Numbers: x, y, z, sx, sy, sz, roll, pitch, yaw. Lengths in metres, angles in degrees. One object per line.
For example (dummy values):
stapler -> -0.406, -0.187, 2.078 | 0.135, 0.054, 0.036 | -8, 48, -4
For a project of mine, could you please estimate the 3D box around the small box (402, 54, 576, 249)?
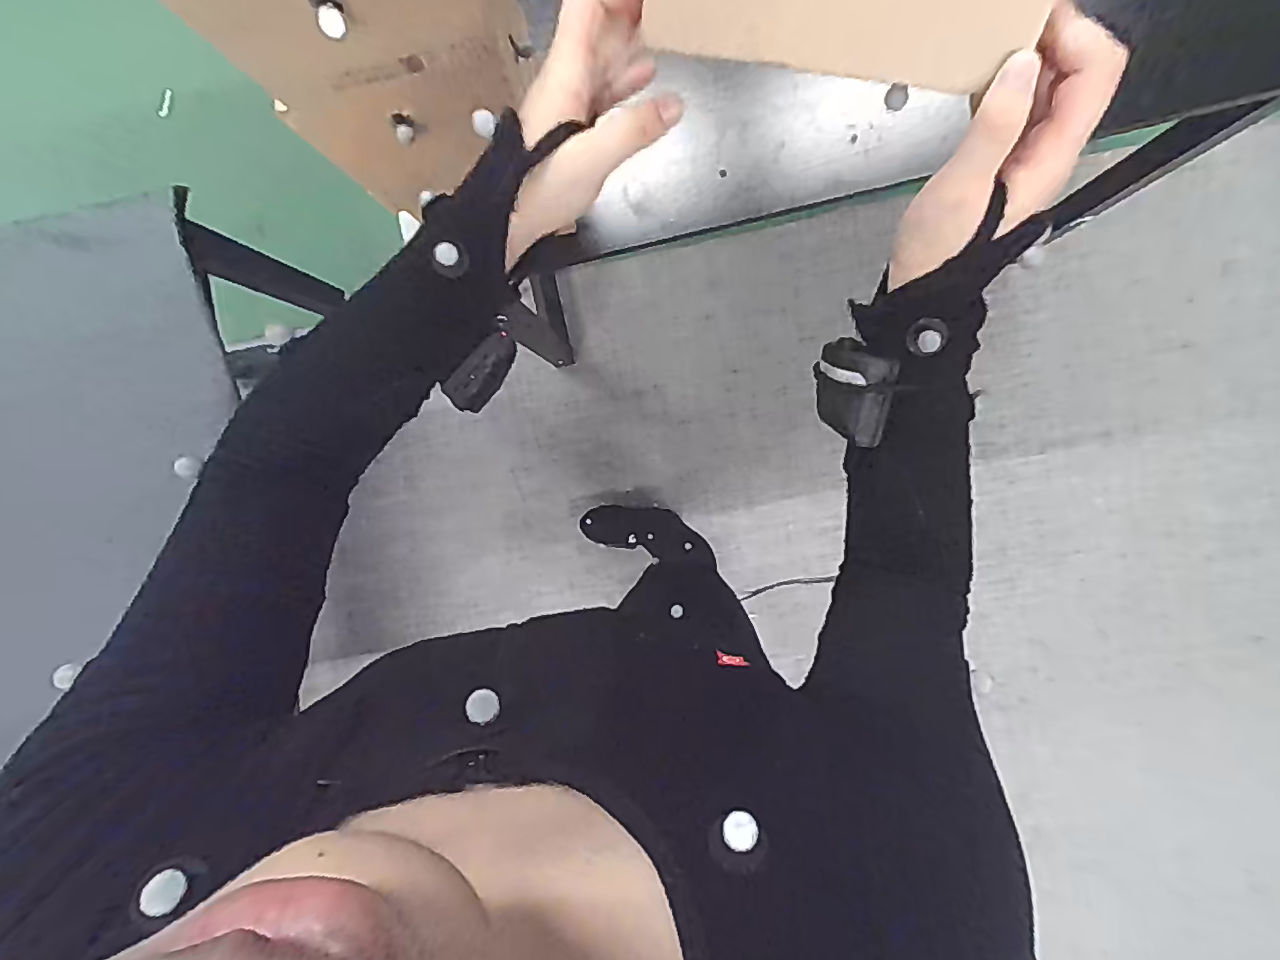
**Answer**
small box -> -0.179, -0.389, 0.627 | 0.168, 0.176, 0.179 | -11, 92, 5

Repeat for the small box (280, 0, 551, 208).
small box -> -0.184, -0.366, 0.466 | 0.179, 0.176, 0.168 | -11, 93, 5

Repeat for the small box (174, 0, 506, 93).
small box -> -0.189, -0.357, 0.301 | 0.168, 0.176, 0.179 | -9, 93, 6
